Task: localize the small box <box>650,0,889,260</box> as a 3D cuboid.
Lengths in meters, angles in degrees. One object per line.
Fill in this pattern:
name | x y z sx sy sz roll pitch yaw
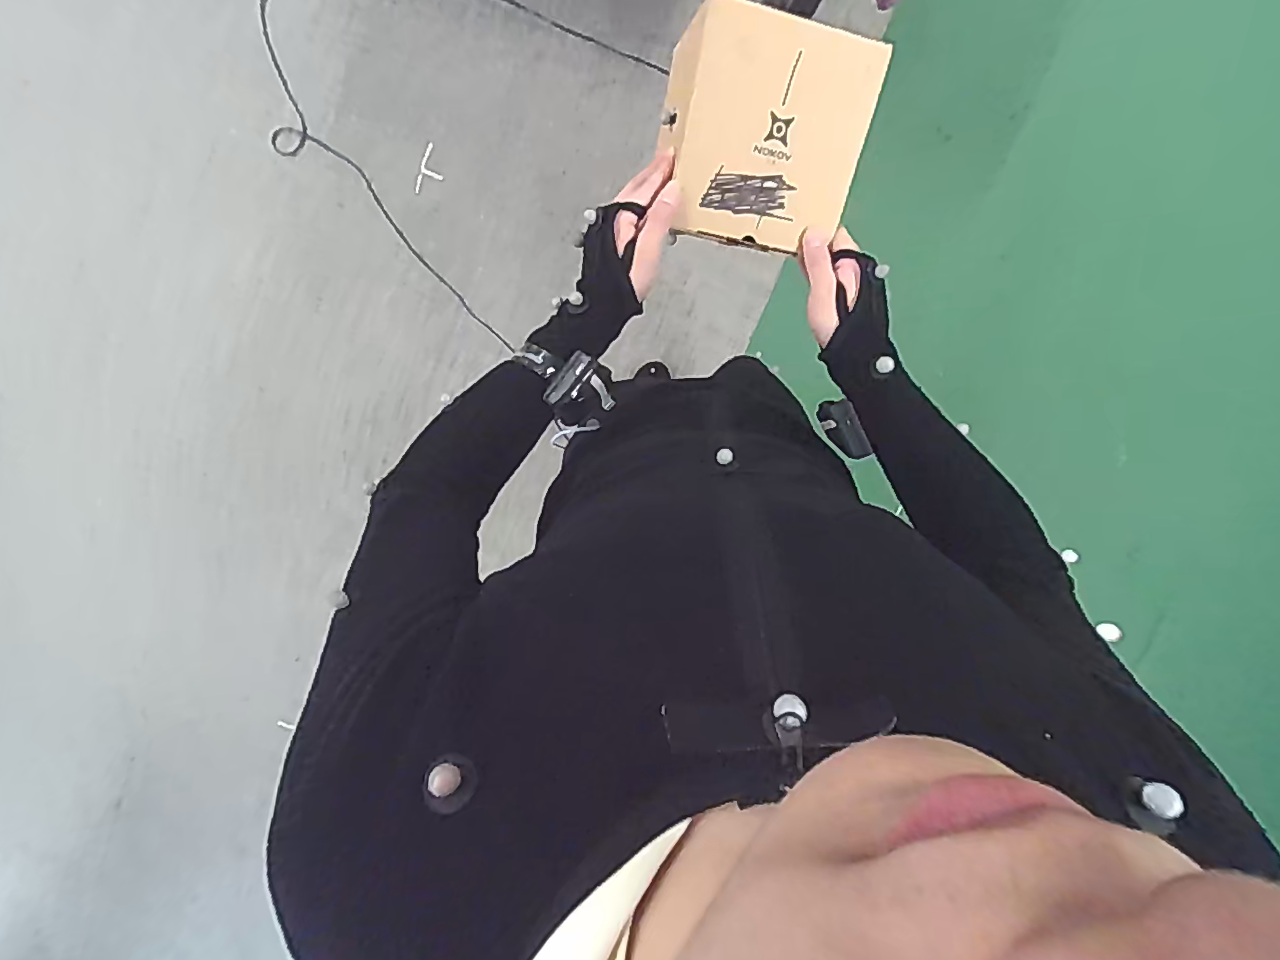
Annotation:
small box | 0.109 -0.334 0.547 0.168 0.176 0.179 6 114 -10
